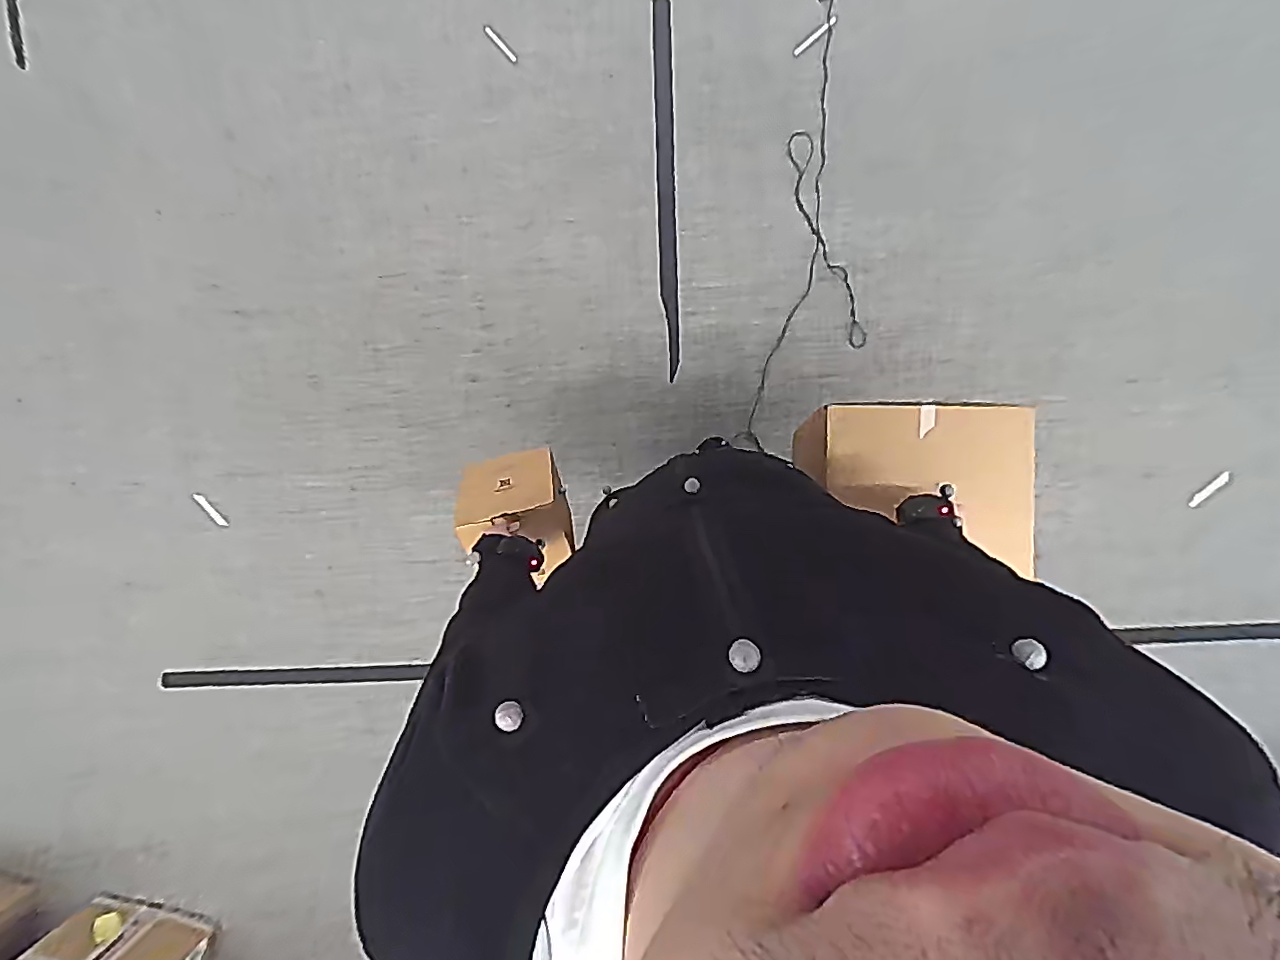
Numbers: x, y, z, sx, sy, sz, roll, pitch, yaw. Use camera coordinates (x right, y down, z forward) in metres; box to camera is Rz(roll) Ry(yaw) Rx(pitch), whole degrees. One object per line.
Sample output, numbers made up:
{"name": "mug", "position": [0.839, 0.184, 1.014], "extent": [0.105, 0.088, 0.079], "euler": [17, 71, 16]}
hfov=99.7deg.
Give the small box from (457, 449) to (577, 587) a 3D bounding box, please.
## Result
{"name": "small box", "position": [-0.216, 0.074, 0.980], "extent": [0.168, 0.179, 0.176], "euler": [-14, 126, -3]}
